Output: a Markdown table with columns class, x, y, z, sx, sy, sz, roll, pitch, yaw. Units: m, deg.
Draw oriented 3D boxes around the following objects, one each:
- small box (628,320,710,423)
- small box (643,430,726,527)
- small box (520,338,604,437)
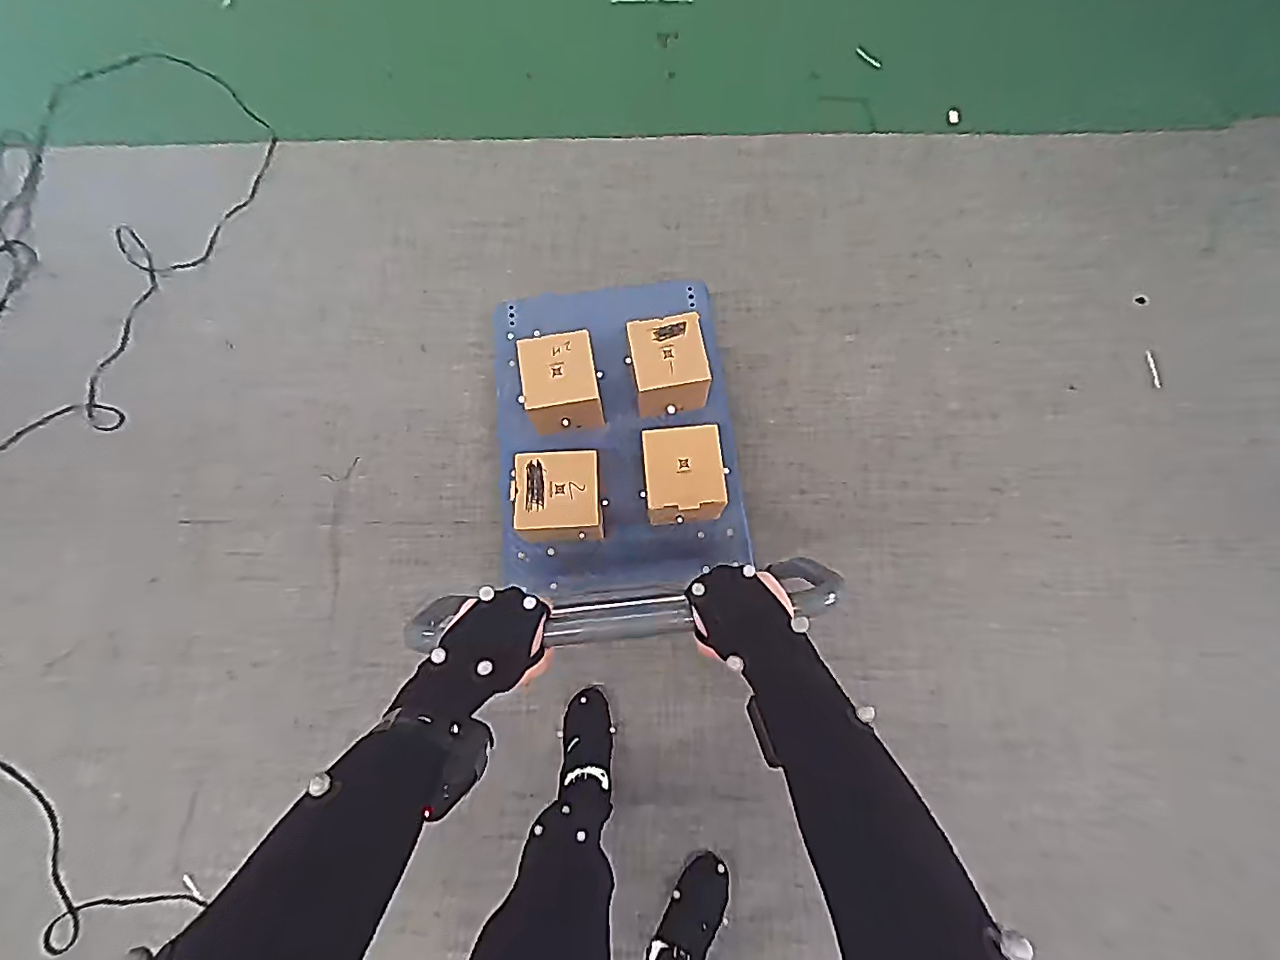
| class | x | y | z | sx | sy | sz | roll | pitch | yaw |
| --- | --- | --- | --- | --- | --- | --- | --- | --- | --- |
| small box | 0.065 | -0.257 | 1.310 | 0.168 | 0.176 | 0.179 | -10 | 75 | -1 |
| small box | 0.094 | 0.002 | 1.236 | 0.168 | 0.176 | 0.179 | -5 | 74 | -1 |
| small box | -0.183 | -0.212 | 1.302 | 0.168 | 0.176 | 0.179 | -9 | 74 | -3 |
